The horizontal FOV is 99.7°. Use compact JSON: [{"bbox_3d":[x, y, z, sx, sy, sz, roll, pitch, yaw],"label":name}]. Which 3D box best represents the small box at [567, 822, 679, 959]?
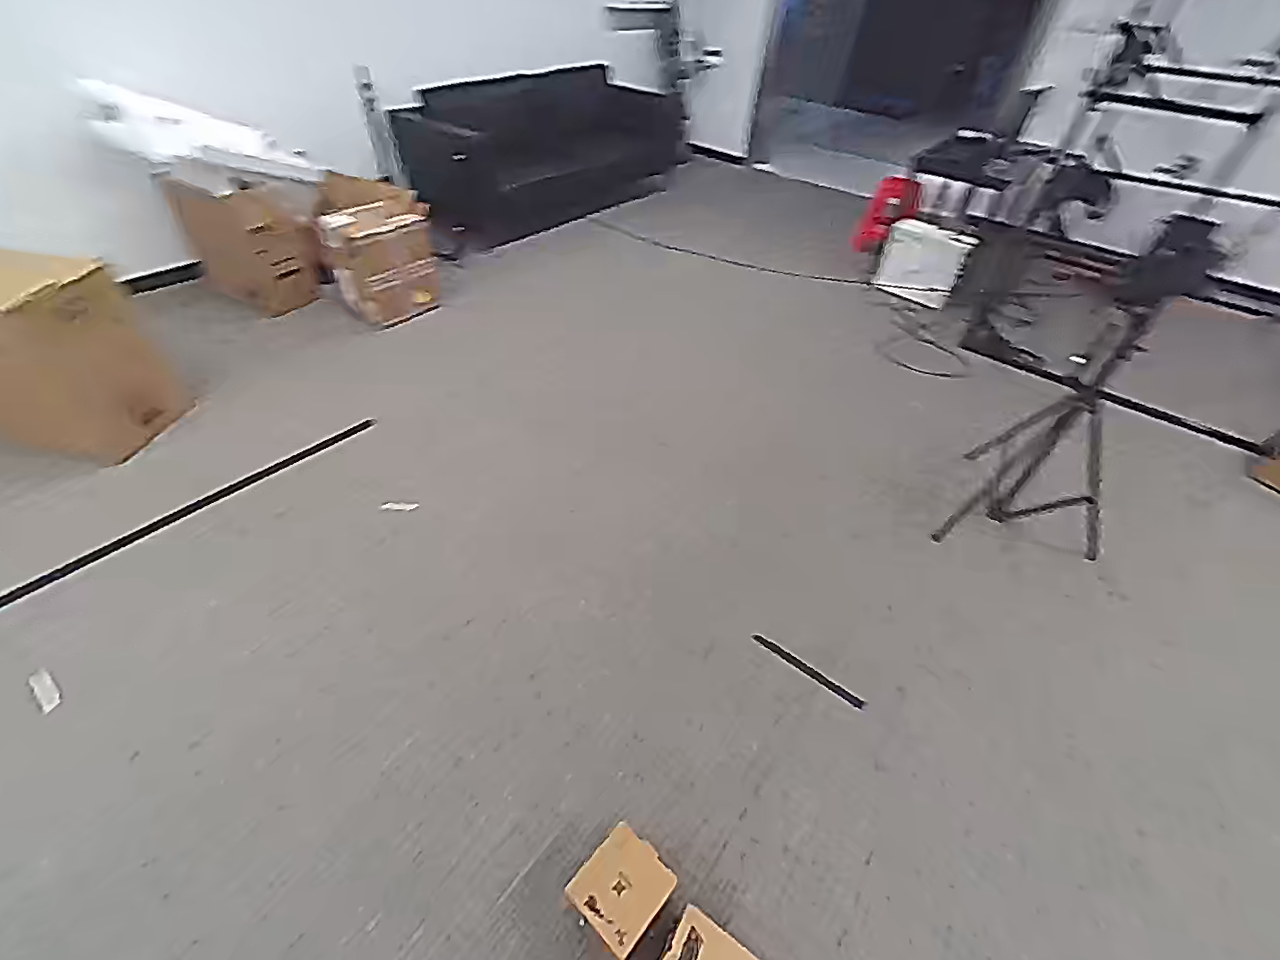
[{"bbox_3d":[-0.041,0.890,1.160,0.168,0.176,0.179,34,50,28],"label":"small box"}]

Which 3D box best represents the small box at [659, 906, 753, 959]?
[{"bbox_3d":[0.119,0.996,1.063,0.179,0.176,0.168,28,48,22],"label":"small box"}]
